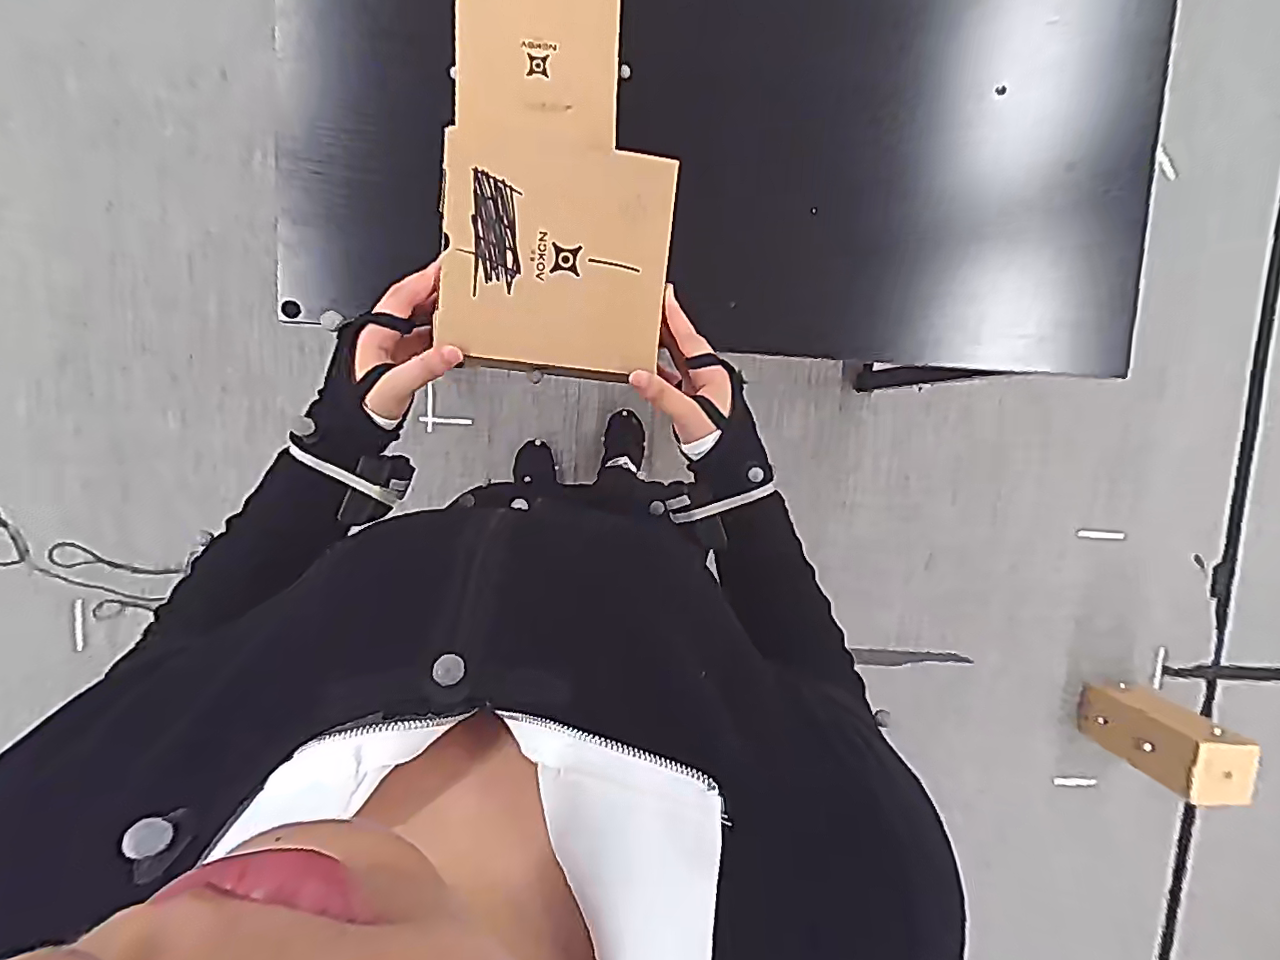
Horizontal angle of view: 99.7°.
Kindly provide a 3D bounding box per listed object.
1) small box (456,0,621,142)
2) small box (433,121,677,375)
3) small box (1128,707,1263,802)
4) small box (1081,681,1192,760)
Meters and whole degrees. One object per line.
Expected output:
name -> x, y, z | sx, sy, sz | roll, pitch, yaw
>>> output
small box -> -0.110, -0.436, 0.631 | 0.168, 0.176, 0.179 | 1, 97, -4
small box -> -0.072, -0.188, 0.494 | 0.179, 0.176, 0.168 | 5, 98, -5
small box -> 1.484, 0.733, 1.455 | 0.179, 0.176, 0.168 | 5, 96, -5
small box -> 1.478, 0.718, 1.620 | 0.179, 0.176, 0.168 | 3, 96, -4
